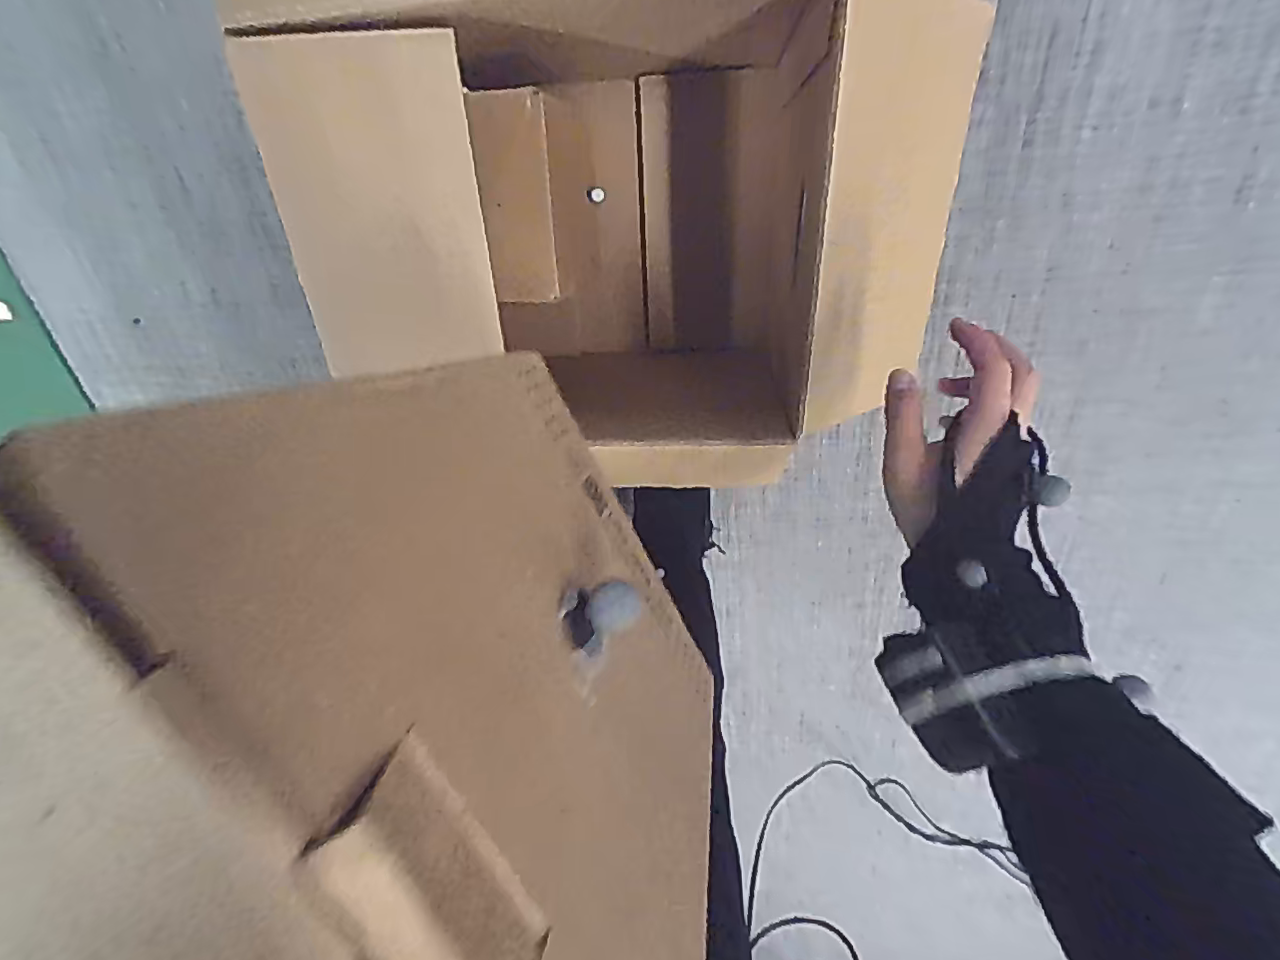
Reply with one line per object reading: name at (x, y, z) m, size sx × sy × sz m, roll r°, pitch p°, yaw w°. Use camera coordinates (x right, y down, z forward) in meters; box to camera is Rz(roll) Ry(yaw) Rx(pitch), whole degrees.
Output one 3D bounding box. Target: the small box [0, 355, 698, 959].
small box at (-0.090, 0.072, 0.172) m, size 0.179 × 0.176 × 0.168 m, roll -25°, pitch 102°, yaw 14°
